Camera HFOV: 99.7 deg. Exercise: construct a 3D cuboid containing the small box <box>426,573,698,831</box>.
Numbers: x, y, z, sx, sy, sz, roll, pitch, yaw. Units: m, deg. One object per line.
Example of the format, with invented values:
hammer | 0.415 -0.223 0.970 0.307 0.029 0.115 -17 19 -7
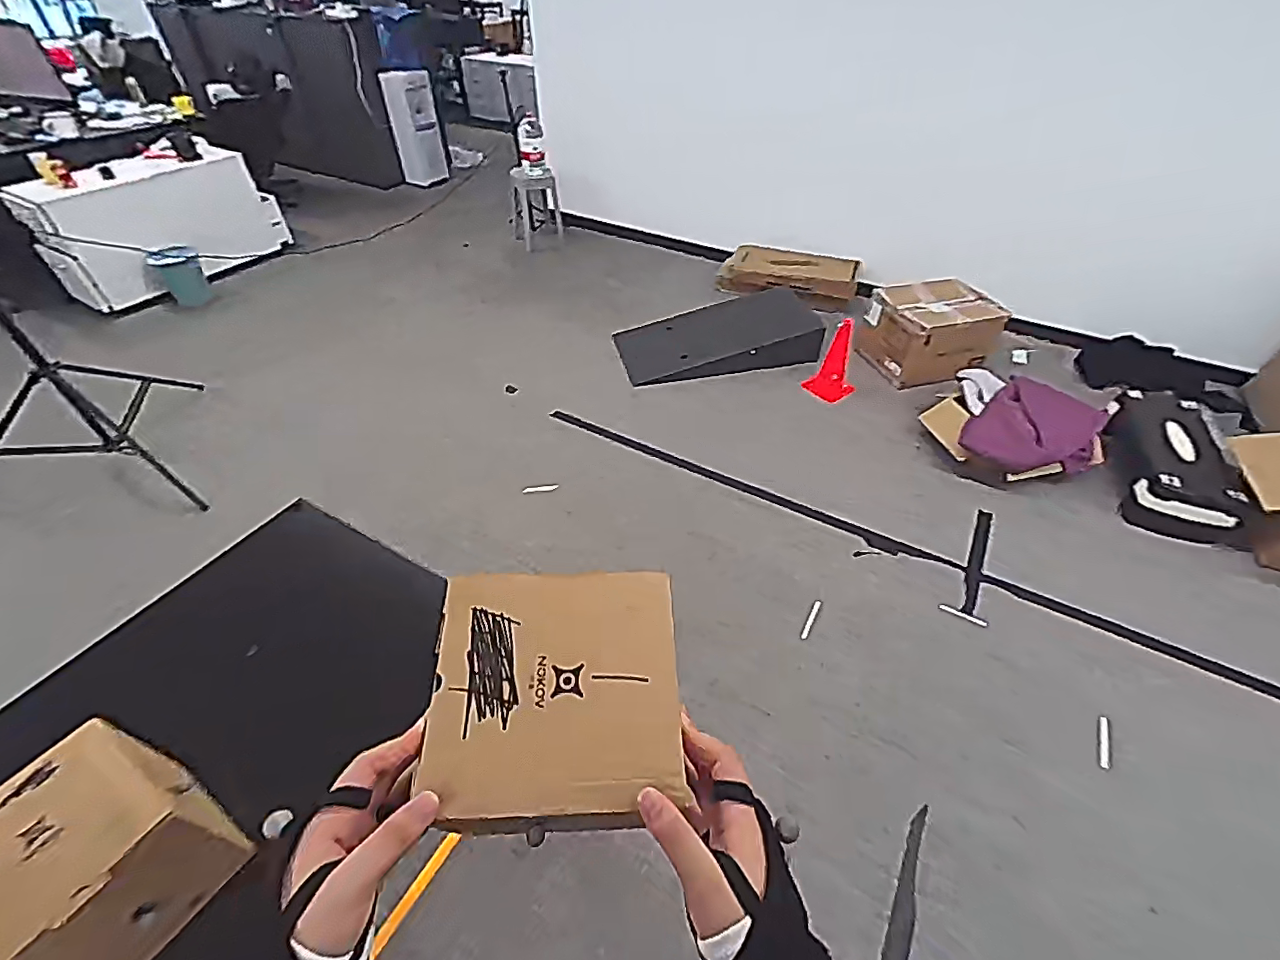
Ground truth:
small box | -0.053 0.189 0.451 0.179 0.176 0.168 0 54 -3
